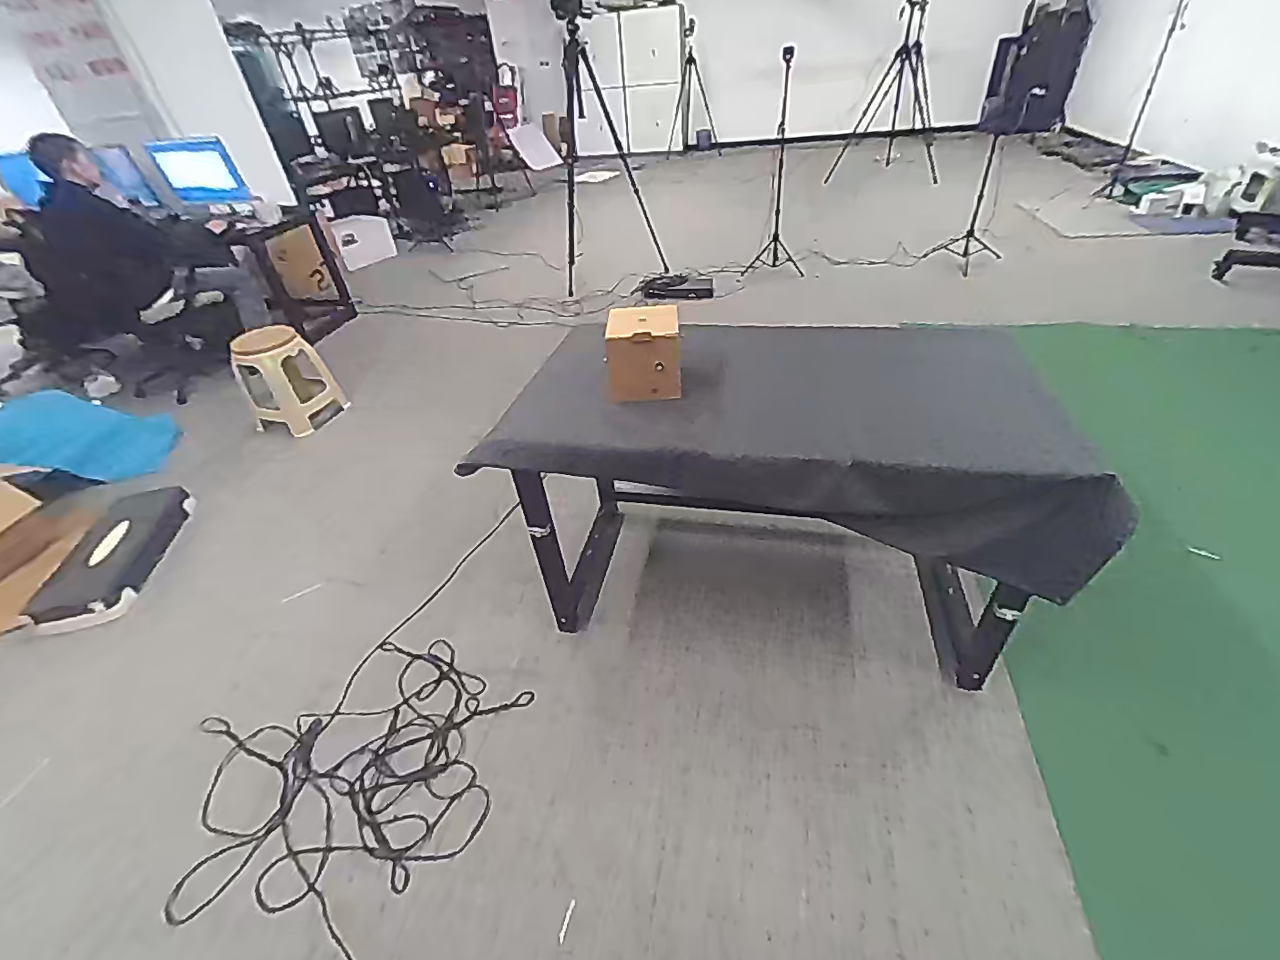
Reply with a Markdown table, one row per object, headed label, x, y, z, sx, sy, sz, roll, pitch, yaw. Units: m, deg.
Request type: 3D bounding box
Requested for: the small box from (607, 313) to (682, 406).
| label | x | y | z | sx | sy | sz | roll | pitch | yaw |
| --- | --- | --- | --- | --- | --- | --- | --- | --- | --- |
| small box | 0.016 | -0.288 | 1.305 | 0.168 | 0.176 | 0.179 | -2 | 37 | 3 |
